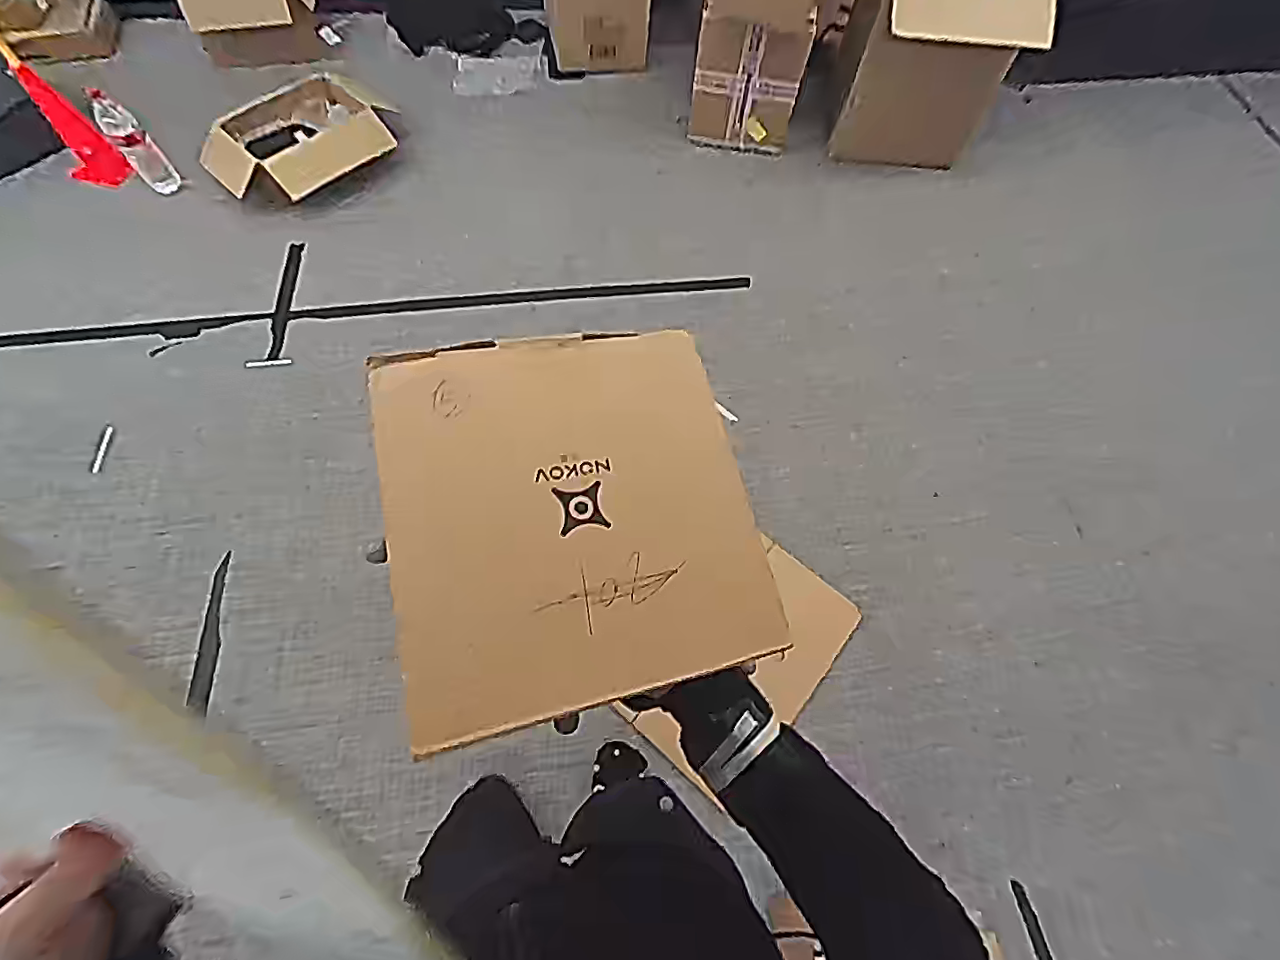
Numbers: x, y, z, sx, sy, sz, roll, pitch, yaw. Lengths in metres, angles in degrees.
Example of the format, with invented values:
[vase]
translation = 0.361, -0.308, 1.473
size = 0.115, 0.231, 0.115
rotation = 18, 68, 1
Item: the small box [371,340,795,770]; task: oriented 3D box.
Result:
[small box]
translation = -0.046, 0.044, 0.316
size = 0.168, 0.176, 0.179
rotation = -10, 72, -18
